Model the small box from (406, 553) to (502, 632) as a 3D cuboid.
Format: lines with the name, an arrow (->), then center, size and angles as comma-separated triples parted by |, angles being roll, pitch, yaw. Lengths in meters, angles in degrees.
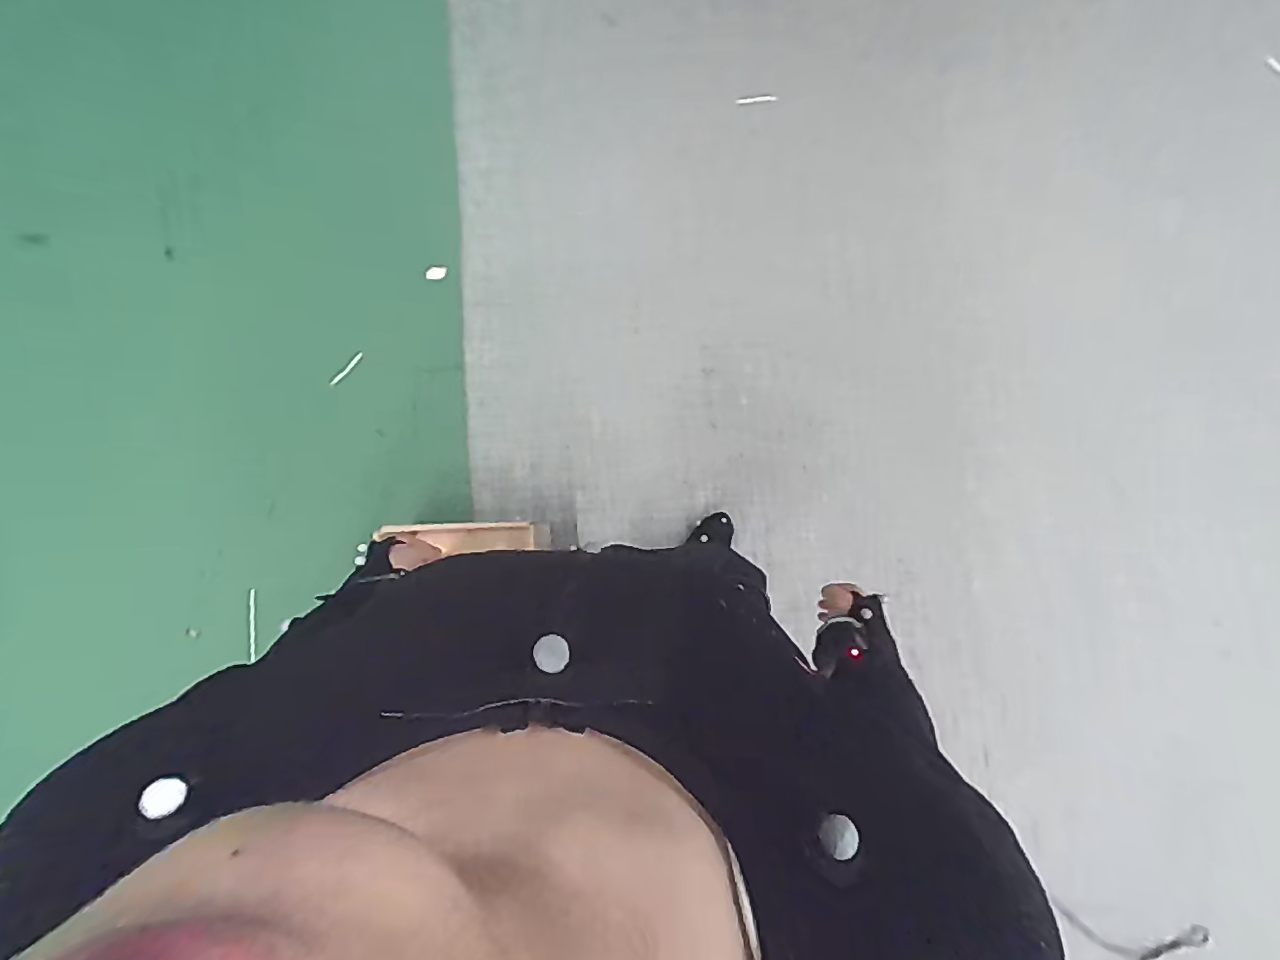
small box -> -0.461, 0.276, 1.359 | 0.179, 0.176, 0.168 | 4, 88, -1
